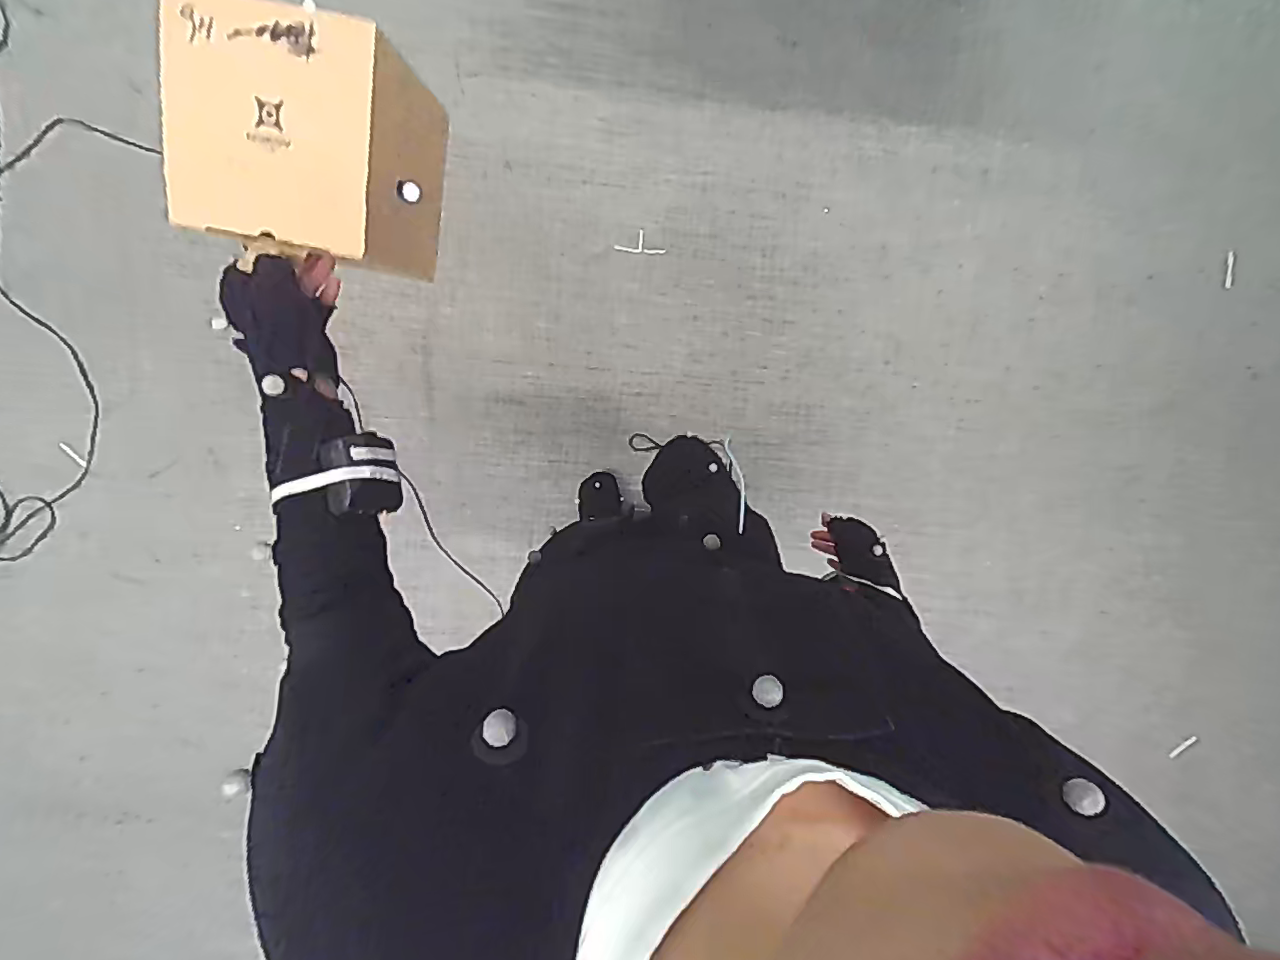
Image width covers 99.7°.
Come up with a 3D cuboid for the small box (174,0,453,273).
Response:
[{"bbox_3d":[-0.291,-0.306,0.516,0.168,0.176,0.179,11,105,-3],"label":"small box"}]
